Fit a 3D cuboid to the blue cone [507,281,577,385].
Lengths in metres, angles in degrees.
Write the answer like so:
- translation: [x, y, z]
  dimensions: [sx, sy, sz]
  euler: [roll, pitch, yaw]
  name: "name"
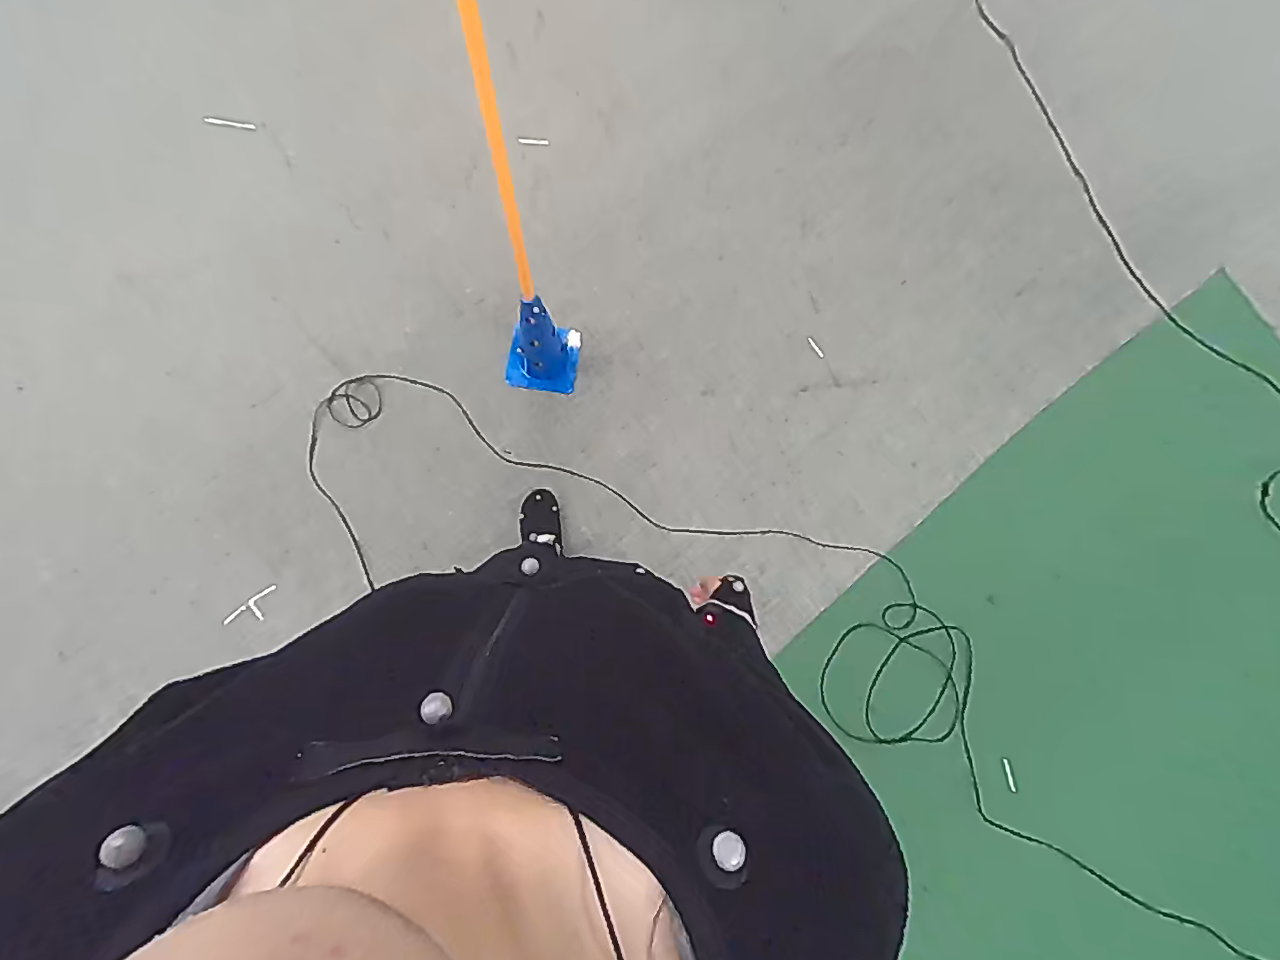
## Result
- translation: [-0.266, -0.398, 1.396]
  dimensions: [0.192, 0.380, 0.193]
  euler: [7, 79, -4]
  name: "blue cone"
